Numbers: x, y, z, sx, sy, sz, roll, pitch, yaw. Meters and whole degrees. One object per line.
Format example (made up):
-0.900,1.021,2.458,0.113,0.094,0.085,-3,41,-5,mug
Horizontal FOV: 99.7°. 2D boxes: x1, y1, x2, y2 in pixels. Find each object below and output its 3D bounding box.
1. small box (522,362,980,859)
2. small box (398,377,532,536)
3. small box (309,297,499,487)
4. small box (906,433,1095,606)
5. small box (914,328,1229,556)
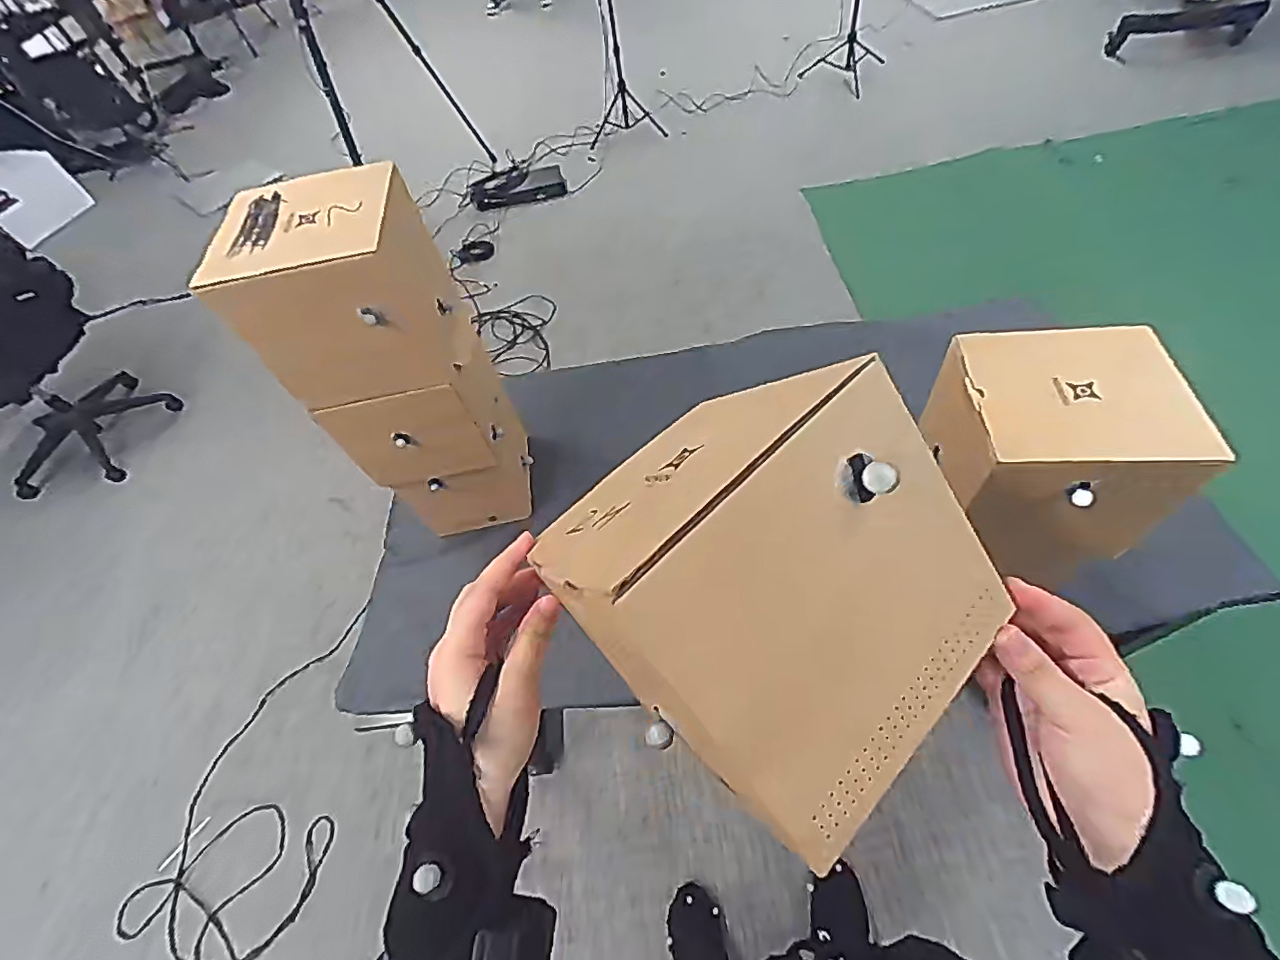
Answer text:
0.062,0.060,0.321,0.179,0.176,0.168,-41,14,-17,small box
-0.279,-0.034,0.875,0.168,0.176,0.179,-12,55,1,small box
-0.299,-0.112,0.730,0.179,0.176,0.168,-12,56,2,small box
0.428,0.049,0.692,0.168,0.176,0.179,-9,54,5,small box
0.405,-0.032,0.552,0.179,0.176,0.168,-1,55,11,small box
